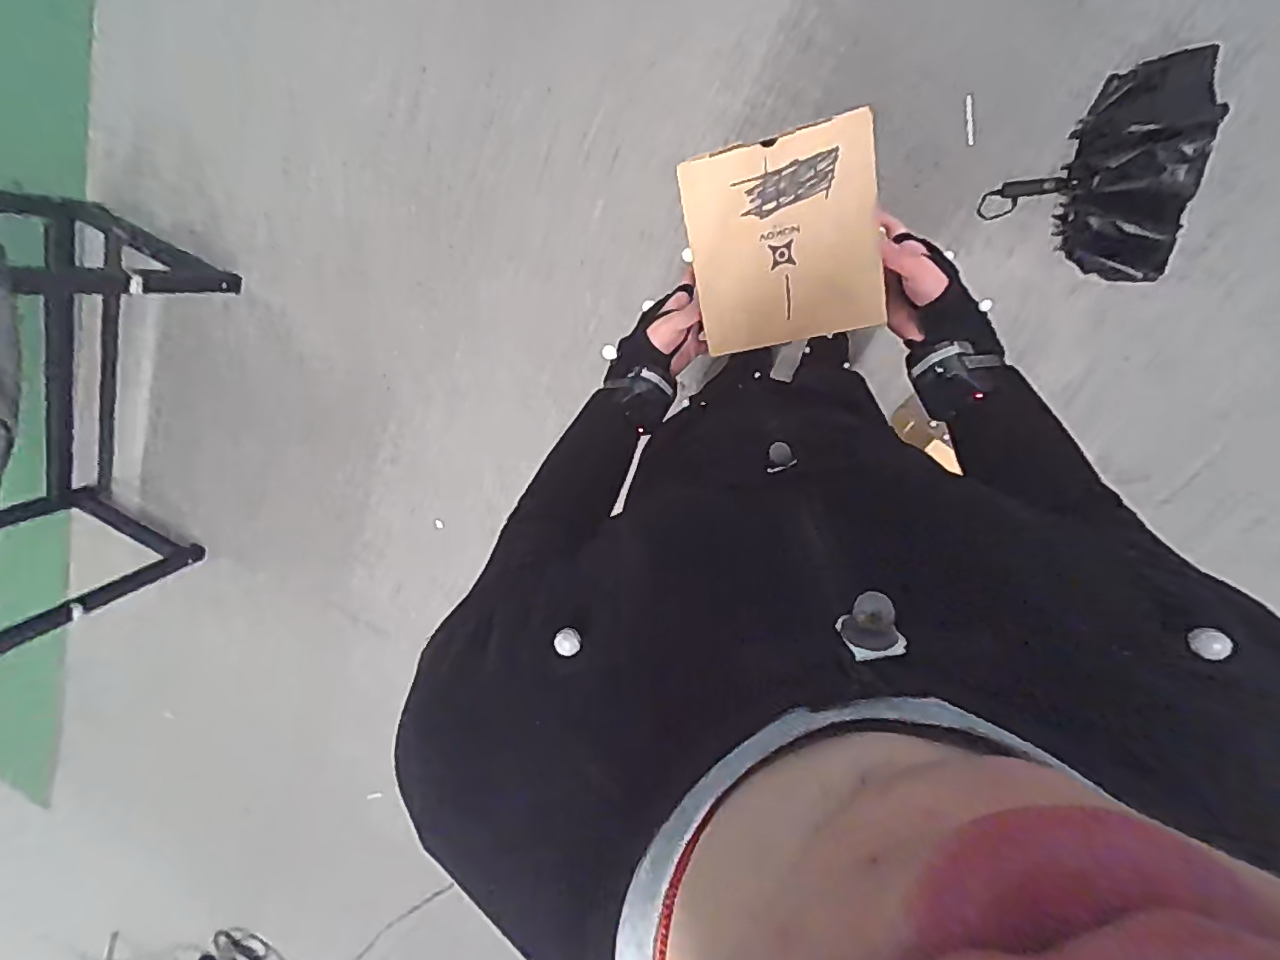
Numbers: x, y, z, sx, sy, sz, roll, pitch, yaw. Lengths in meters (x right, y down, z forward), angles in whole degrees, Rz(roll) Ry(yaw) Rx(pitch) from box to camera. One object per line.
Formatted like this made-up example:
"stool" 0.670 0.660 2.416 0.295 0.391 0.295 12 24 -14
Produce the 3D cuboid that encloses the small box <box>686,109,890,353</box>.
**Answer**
"small box" 0.151 -0.243 0.562 0.168 0.176 0.179 -7 110 17
